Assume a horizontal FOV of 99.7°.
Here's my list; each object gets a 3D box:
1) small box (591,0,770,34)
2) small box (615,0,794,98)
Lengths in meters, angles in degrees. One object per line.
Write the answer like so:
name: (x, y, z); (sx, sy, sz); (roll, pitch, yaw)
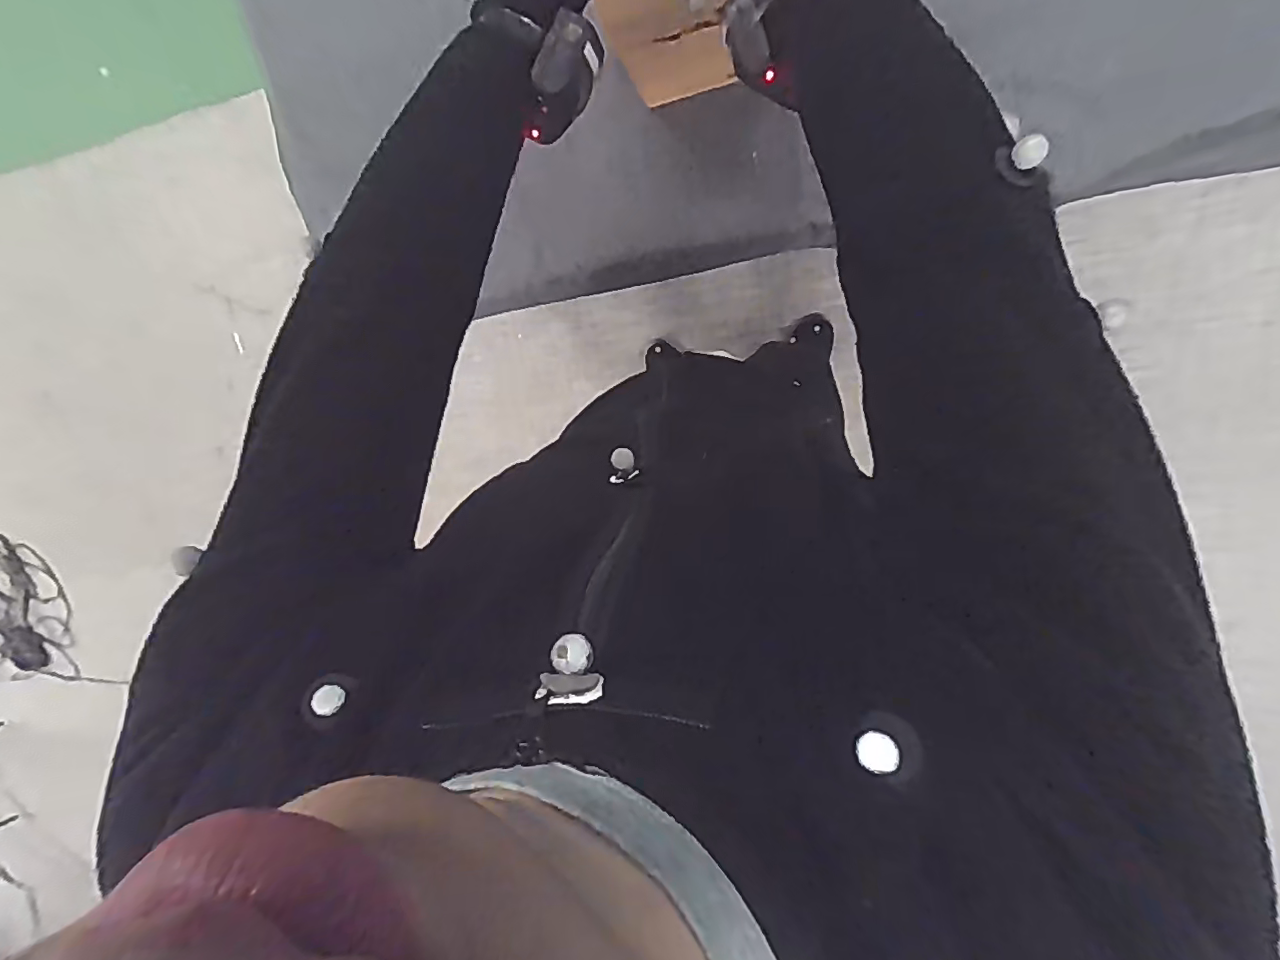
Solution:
small box: (0.028, -0.464, 0.393); (0.168, 0.176, 0.179); (-7, 112, 10)
small box: (0.057, -0.517, 0.542); (0.168, 0.176, 0.179); (-8, 107, 12)
